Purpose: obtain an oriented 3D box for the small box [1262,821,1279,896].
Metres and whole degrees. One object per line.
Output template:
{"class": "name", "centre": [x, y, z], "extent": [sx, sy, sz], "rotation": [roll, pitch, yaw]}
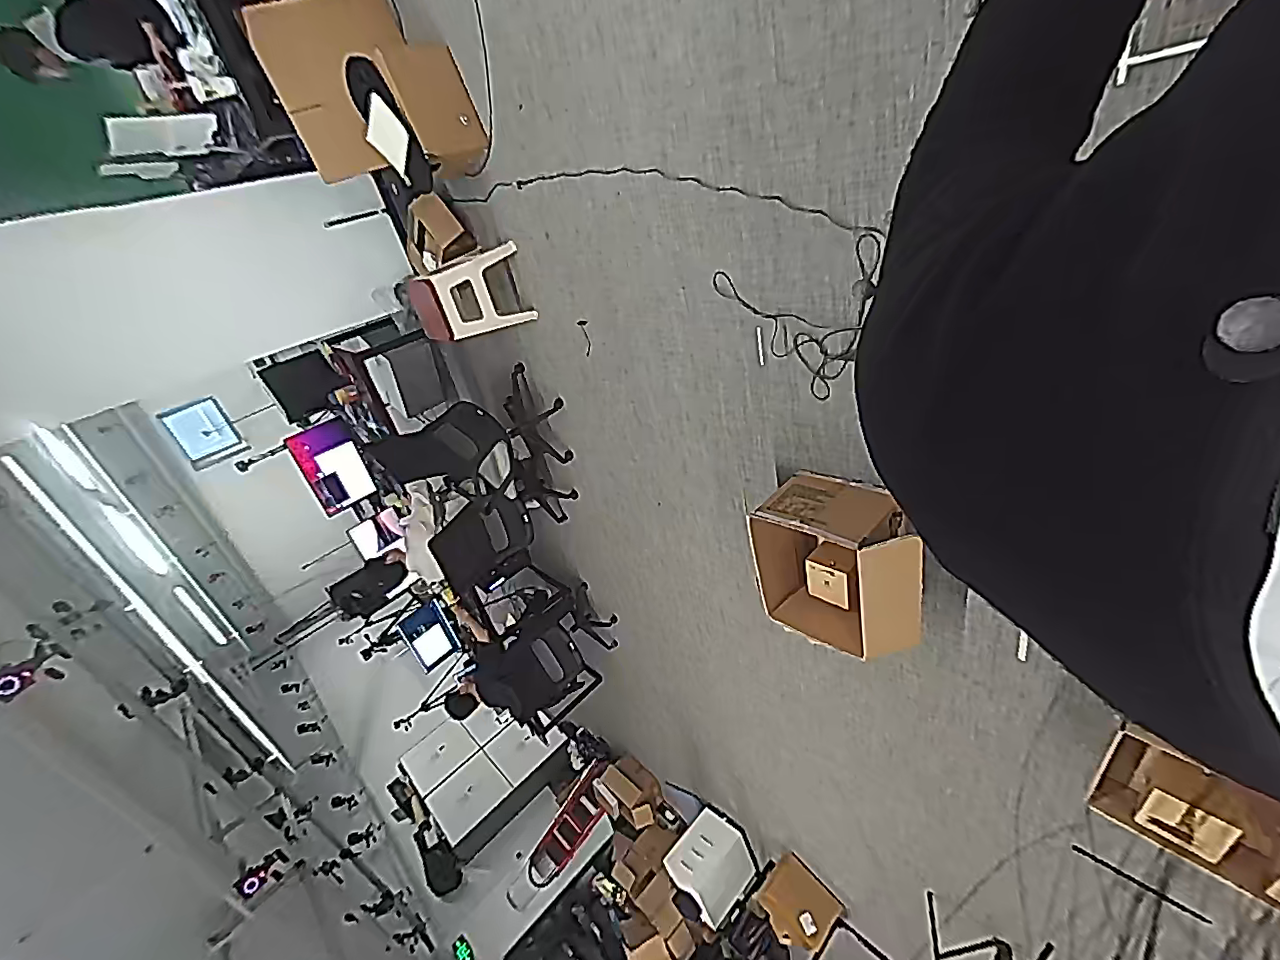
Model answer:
{"class": "small box", "centre": [1.663, 0.938, 1.296], "extent": [0.179, 0.176, 0.168], "rotation": [25, 135, 42]}
